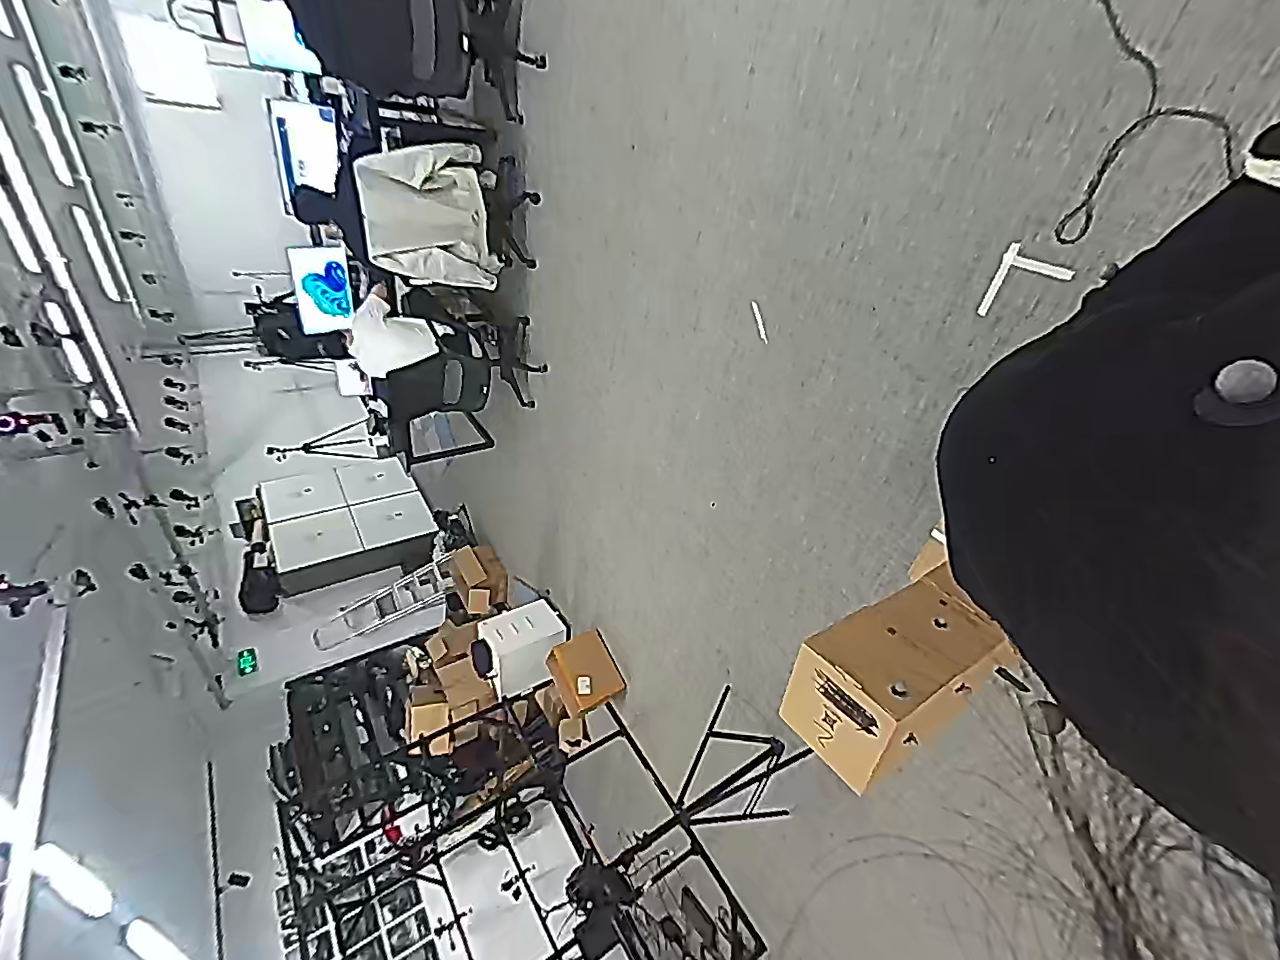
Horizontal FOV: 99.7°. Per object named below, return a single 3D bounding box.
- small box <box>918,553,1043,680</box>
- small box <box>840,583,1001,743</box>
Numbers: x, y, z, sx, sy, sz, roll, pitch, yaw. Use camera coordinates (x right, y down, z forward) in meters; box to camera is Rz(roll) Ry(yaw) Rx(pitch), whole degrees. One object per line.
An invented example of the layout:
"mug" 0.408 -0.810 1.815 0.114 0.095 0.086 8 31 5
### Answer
"small box" 0.623 0.266 1.034 0.168 0.176 0.179 43 137 41
"small box" 0.490 0.307 0.945 0.168 0.176 0.179 40 133 44
